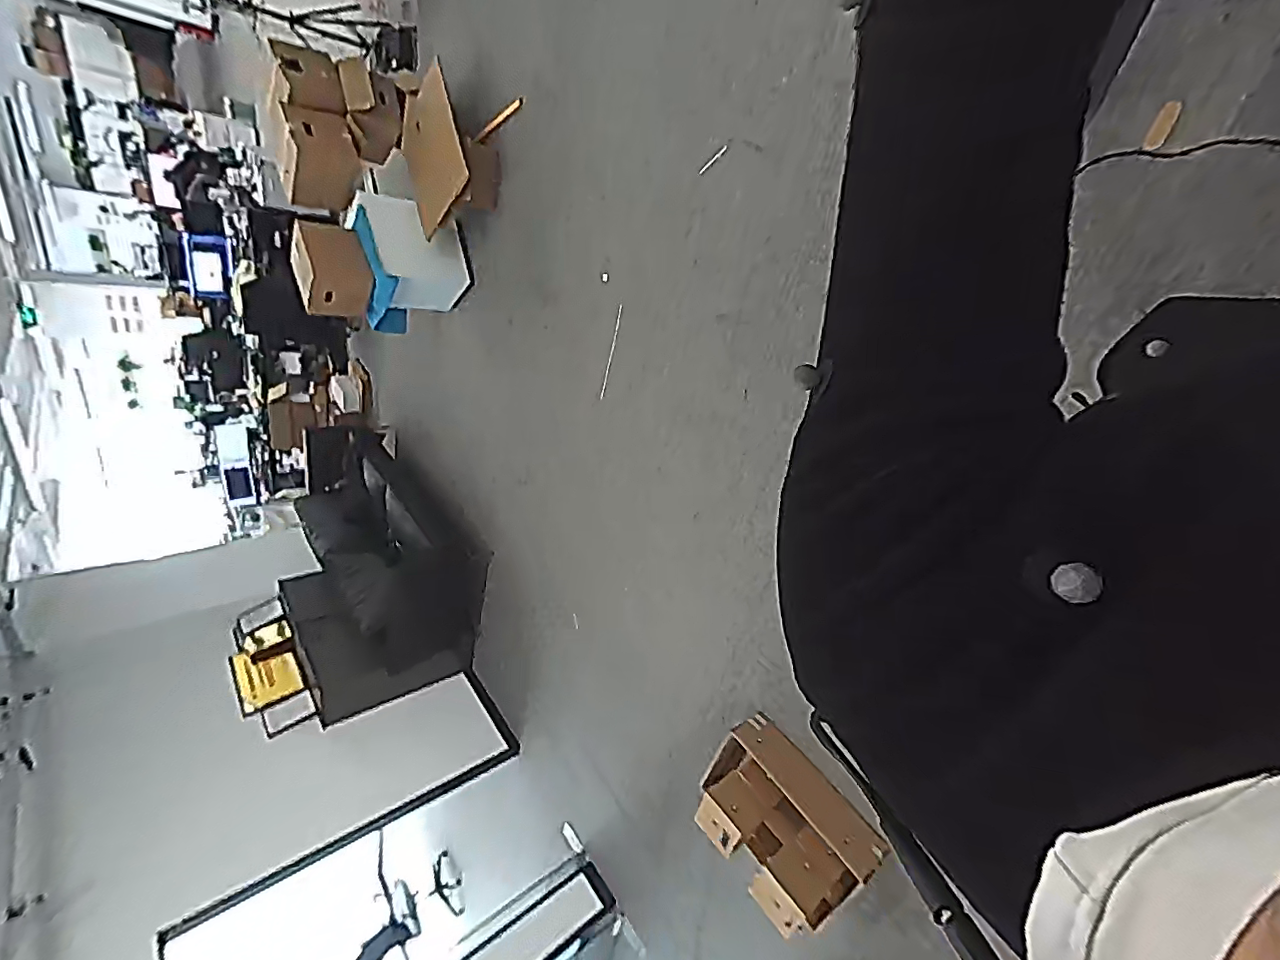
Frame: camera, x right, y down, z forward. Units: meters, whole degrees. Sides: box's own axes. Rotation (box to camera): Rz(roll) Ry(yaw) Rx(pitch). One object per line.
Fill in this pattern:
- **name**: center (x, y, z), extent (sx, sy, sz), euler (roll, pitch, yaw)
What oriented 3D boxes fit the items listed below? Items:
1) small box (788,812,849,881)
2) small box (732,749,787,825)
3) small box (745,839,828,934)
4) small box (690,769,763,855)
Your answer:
- **small box**: center (0.614, 1.335, 1.926), extent (0.168, 0.176, 0.179), euler (41, 128, 36)
- **small box**: center (0.441, 1.183, 2.088), extent (0.168, 0.176, 0.179), euler (42, 128, 34)
- **small box**: center (0.491, 1.355, 1.818), extent (0.179, 0.176, 0.168), euler (41, 127, 37)
- **small box**: center (0.320, 1.208, 1.979), extent (0.179, 0.176, 0.168), euler (38, 124, 37)
